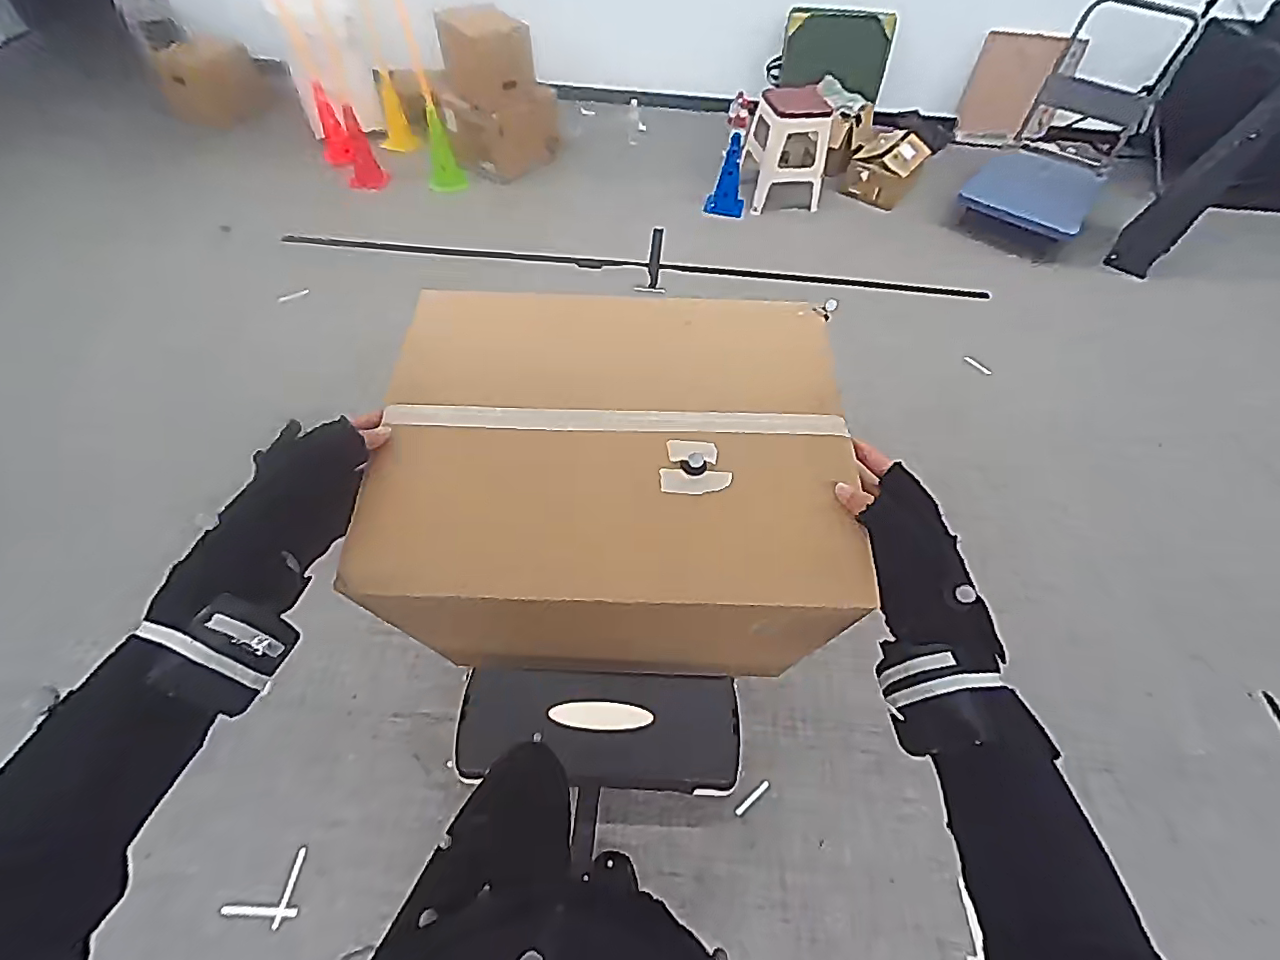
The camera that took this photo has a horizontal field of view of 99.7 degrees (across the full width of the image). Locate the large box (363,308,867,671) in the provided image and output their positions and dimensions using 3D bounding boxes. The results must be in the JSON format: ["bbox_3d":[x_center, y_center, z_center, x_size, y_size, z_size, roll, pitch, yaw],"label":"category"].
[{"bbox_3d":[-0.021,0.031,0.621,0.408,0.320,0.320,2,61,-1],"label":"large box"}]
